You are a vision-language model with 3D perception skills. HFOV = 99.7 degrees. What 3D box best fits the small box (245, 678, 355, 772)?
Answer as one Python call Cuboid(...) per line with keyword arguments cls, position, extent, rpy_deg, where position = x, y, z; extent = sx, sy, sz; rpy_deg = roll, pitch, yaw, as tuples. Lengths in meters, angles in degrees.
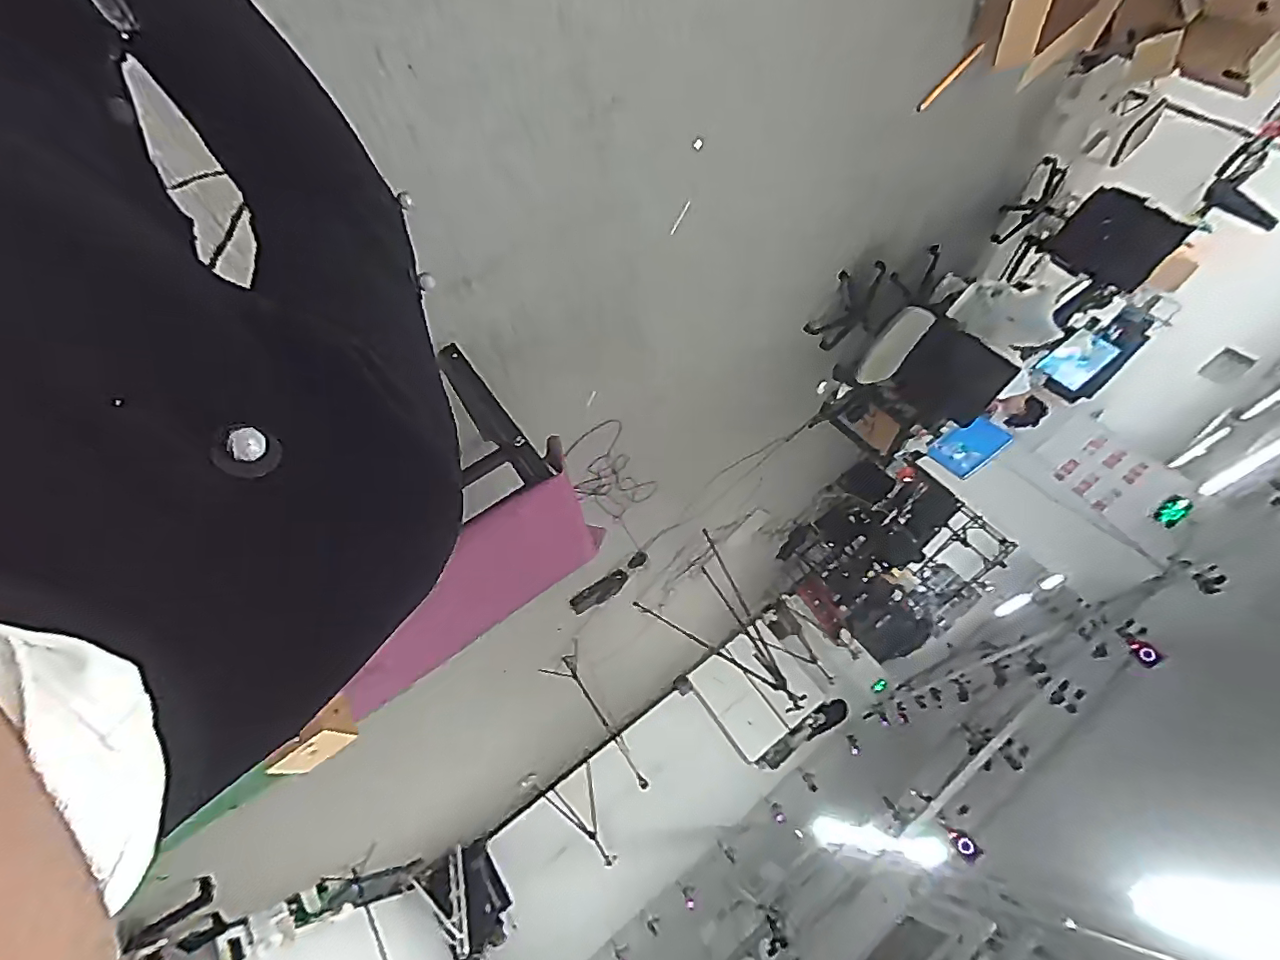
Cuboid(cls="small box", position=(-0.931, 0.671, 1.485), extent=(0.168, 0.176, 0.179), rpy_deg=(-35, 155, -14))
